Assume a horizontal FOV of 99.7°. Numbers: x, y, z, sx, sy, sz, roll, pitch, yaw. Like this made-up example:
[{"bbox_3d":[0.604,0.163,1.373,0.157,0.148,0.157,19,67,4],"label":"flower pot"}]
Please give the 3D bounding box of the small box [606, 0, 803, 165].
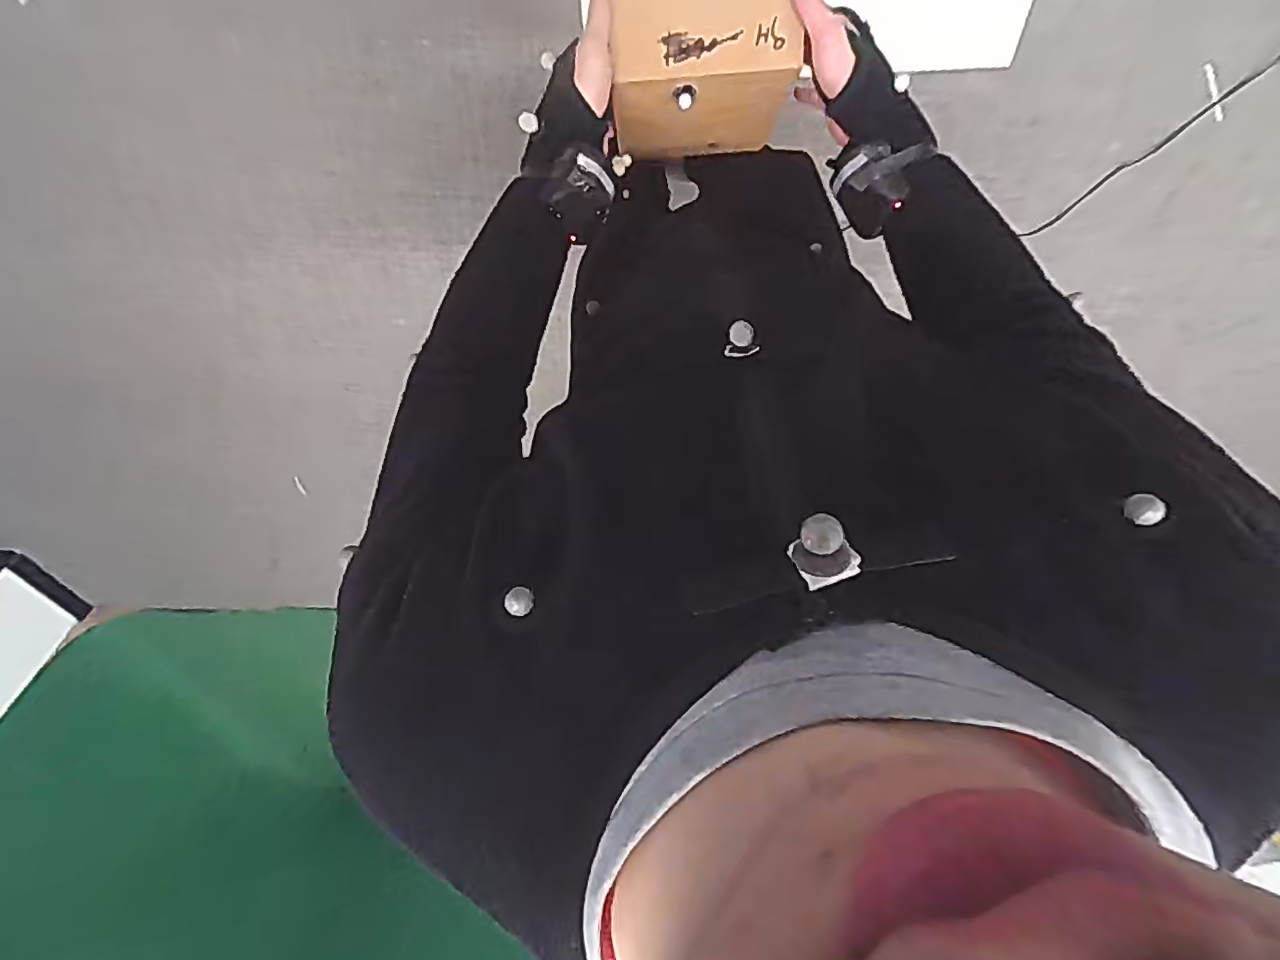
[{"bbox_3d":[0.052,-0.436,0.524,0.168,0.176,0.179,-4,100,1],"label":"small box"}]
